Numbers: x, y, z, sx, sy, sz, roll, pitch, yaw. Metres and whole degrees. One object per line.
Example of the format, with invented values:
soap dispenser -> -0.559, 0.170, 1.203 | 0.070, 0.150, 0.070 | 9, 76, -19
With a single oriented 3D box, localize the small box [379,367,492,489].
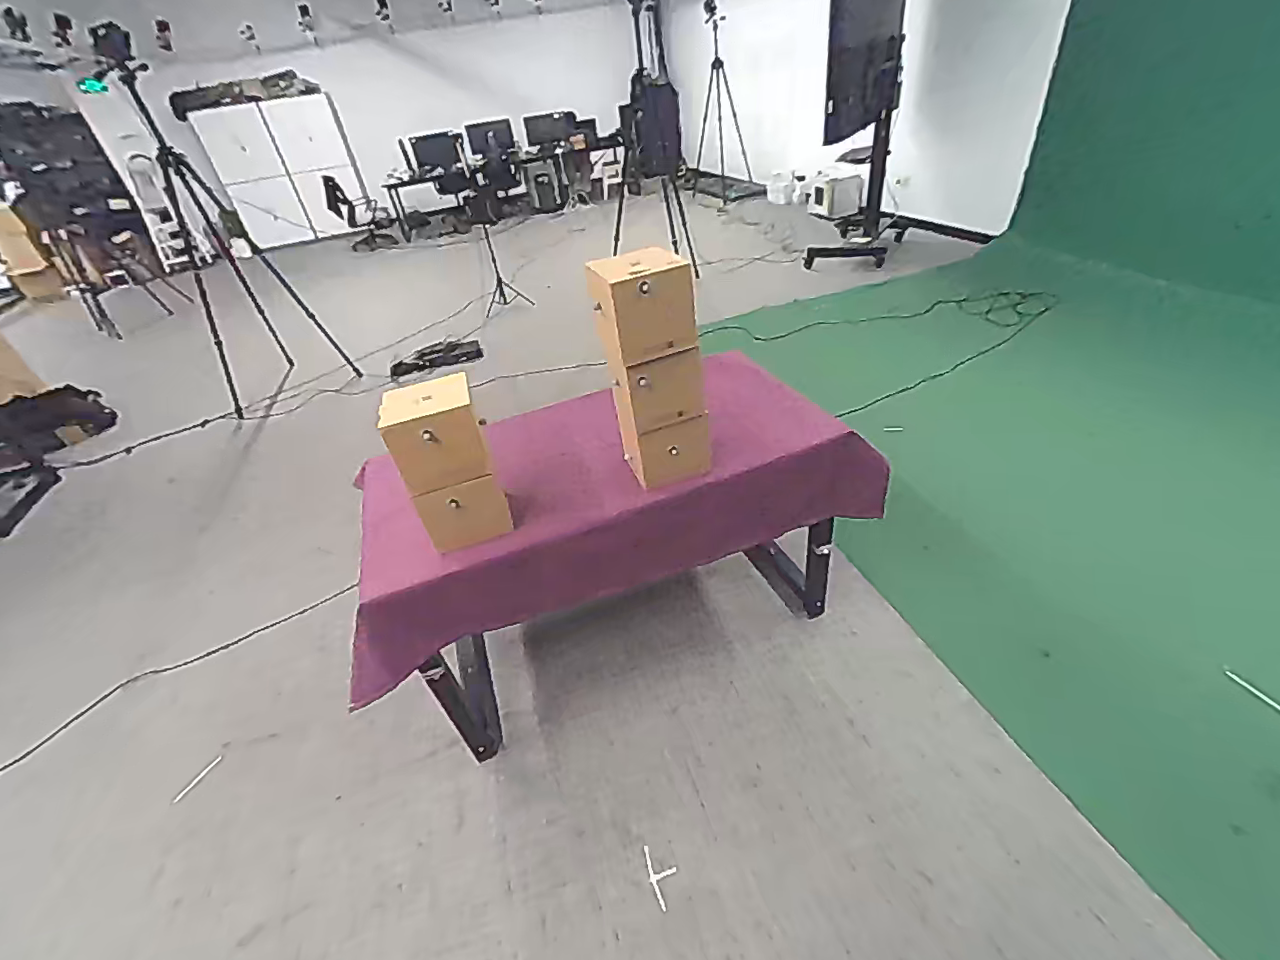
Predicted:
small box -> -0.416, -0.108, 1.123 | 0.179, 0.176, 0.168 | -18, 38, -9

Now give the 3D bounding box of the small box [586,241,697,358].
small box -> 0.003, -0.365, 1.092 | 0.168, 0.176, 0.179 | -20, 37, -12

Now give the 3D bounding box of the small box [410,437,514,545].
small box -> -0.398, 0.022, 1.221 | 0.179, 0.176, 0.168 | -17, 38, -10

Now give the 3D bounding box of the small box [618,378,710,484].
small box -> 0.060, -0.118, 1.303 | 0.179, 0.176, 0.168 | -18, 38, -9
